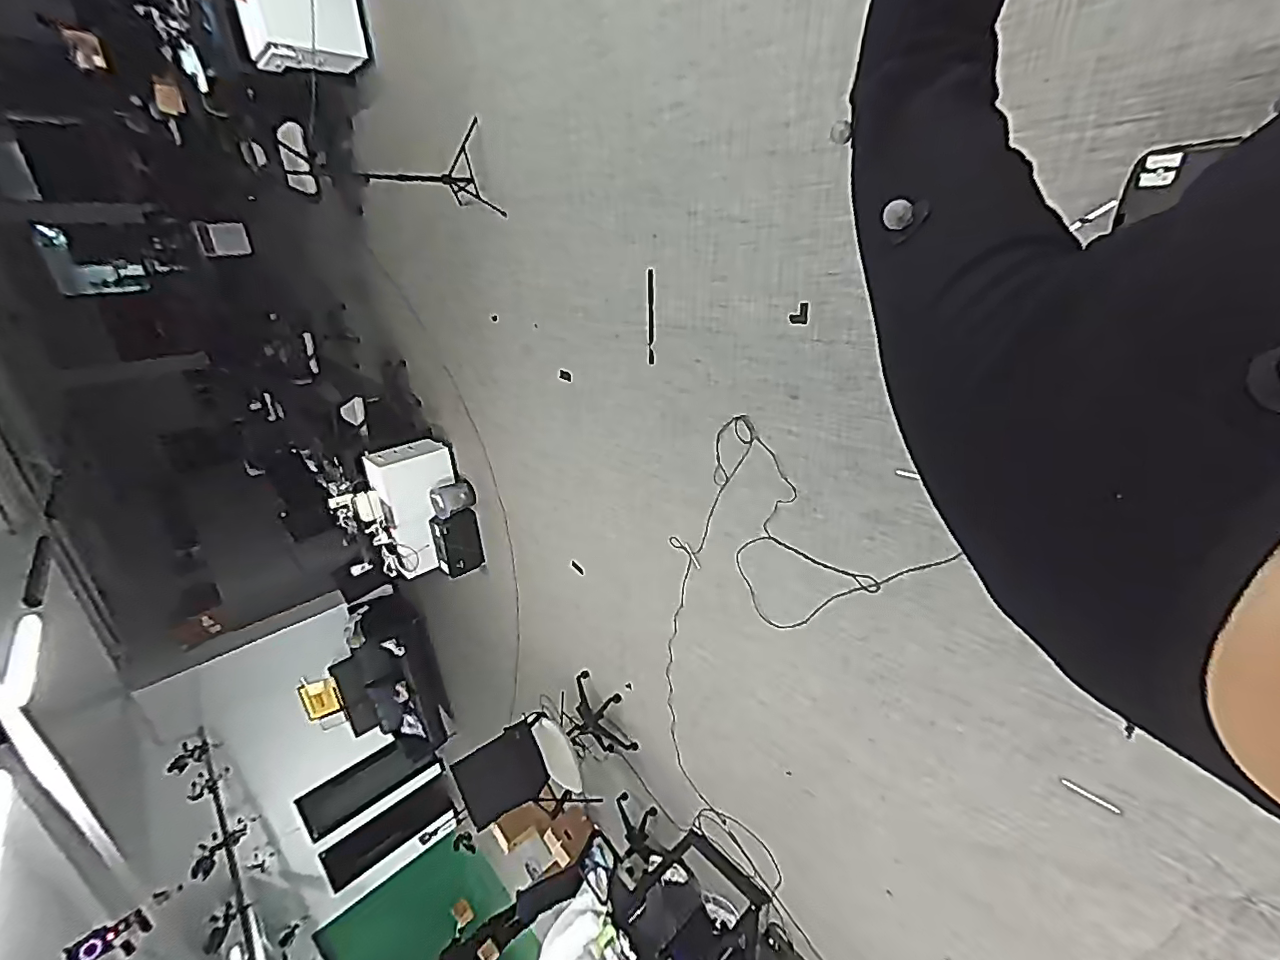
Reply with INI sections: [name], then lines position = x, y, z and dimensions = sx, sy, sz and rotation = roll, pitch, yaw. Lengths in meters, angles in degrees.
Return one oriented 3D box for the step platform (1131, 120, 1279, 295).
[step platform]
position = 1.261, -0.458, 0.877
dimensions = 0.684, 0.204, 0.286
rotation = 18, 122, 43
